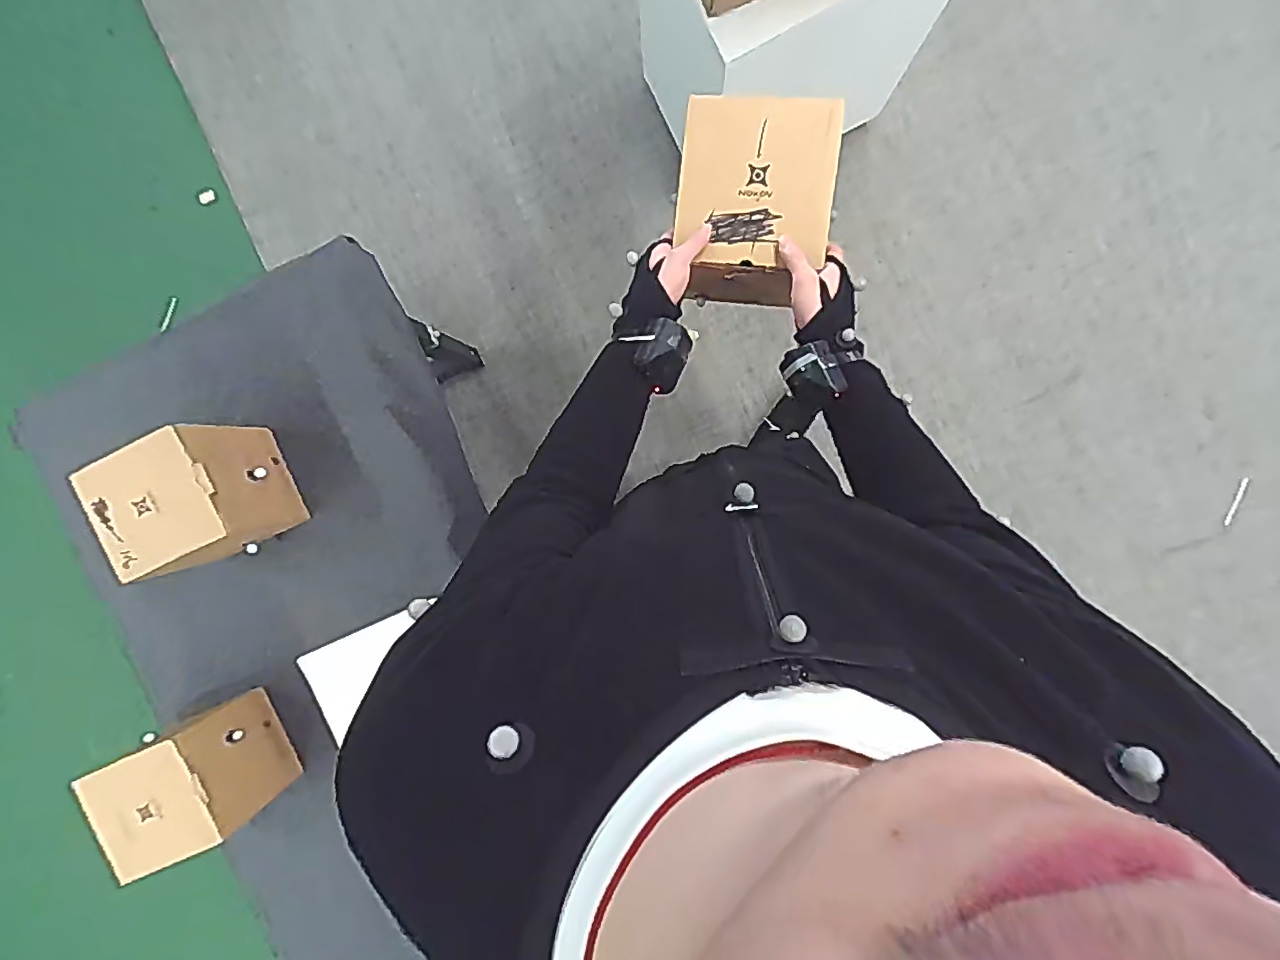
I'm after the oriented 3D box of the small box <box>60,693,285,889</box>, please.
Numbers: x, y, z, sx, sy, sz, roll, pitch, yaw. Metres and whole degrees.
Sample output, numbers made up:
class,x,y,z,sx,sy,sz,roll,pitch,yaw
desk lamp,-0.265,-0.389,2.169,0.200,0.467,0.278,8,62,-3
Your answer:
class,x,y,z,sx,sy,sz,roll,pitch,yaw
small box,-0.685,0.455,0.821,0.179,0.176,0.168,-25,91,5

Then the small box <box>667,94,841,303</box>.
class,x,y,z,sx,sy,sz,roll,pitch,yaw
small box,0.130,-0.325,0.657,0.168,0.176,0.179,7,95,6

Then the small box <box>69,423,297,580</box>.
class,x,y,z,sx,sy,sz,roll,pitch,yaw
small box,-0.654,0.024,0.805,0.179,0.176,0.168,-24,92,4
